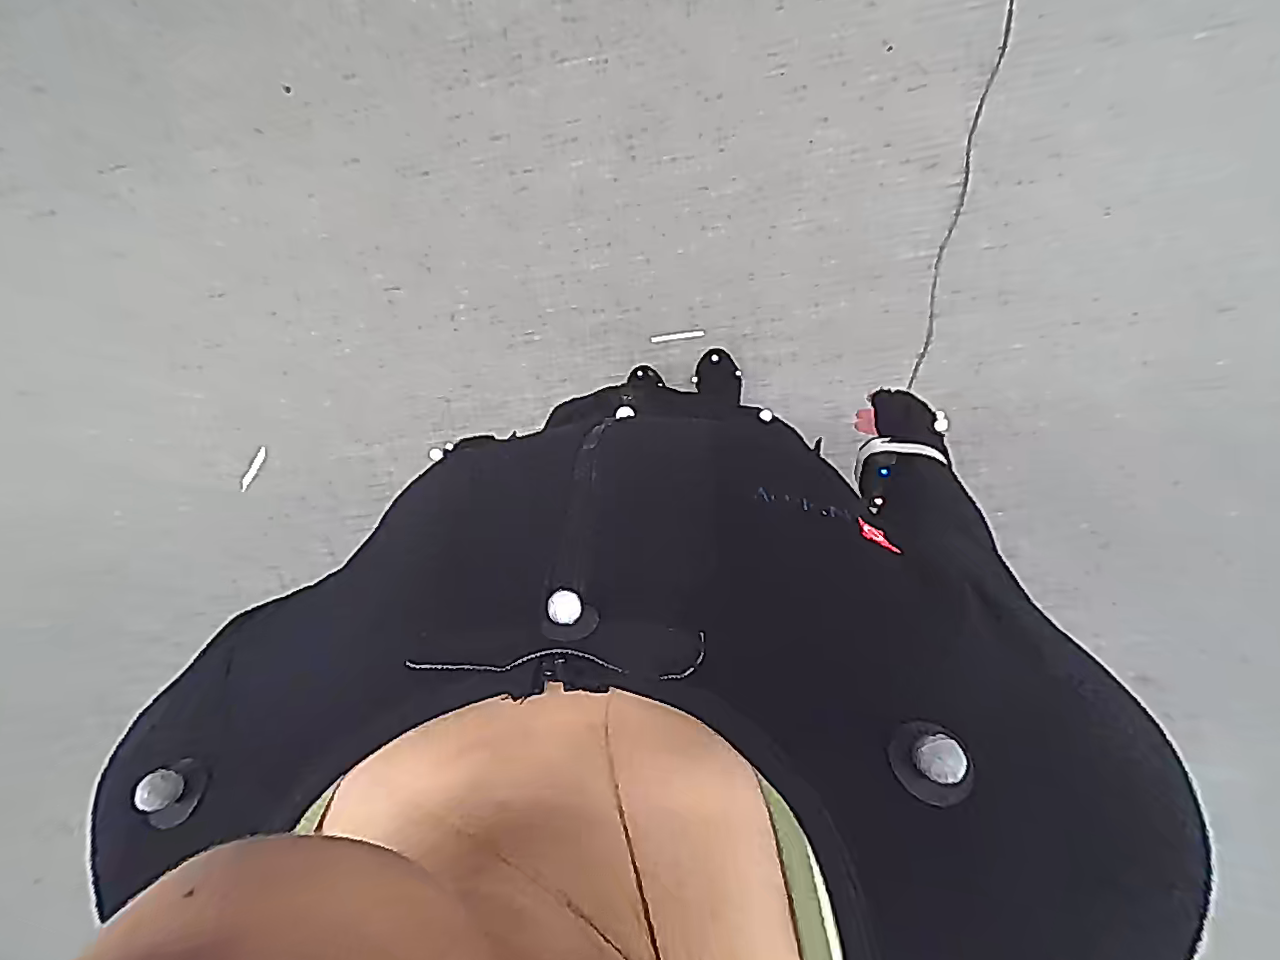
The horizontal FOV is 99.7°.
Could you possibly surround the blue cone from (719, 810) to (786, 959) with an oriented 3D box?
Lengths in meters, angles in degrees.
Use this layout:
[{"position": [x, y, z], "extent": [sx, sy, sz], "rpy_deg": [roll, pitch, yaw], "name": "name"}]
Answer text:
[{"position": [0.319, 1.111, 1.474], "extent": [0.193, 0.380, 0.192], "rpy_deg": [-7, 99, 8], "name": "blue cone"}]
